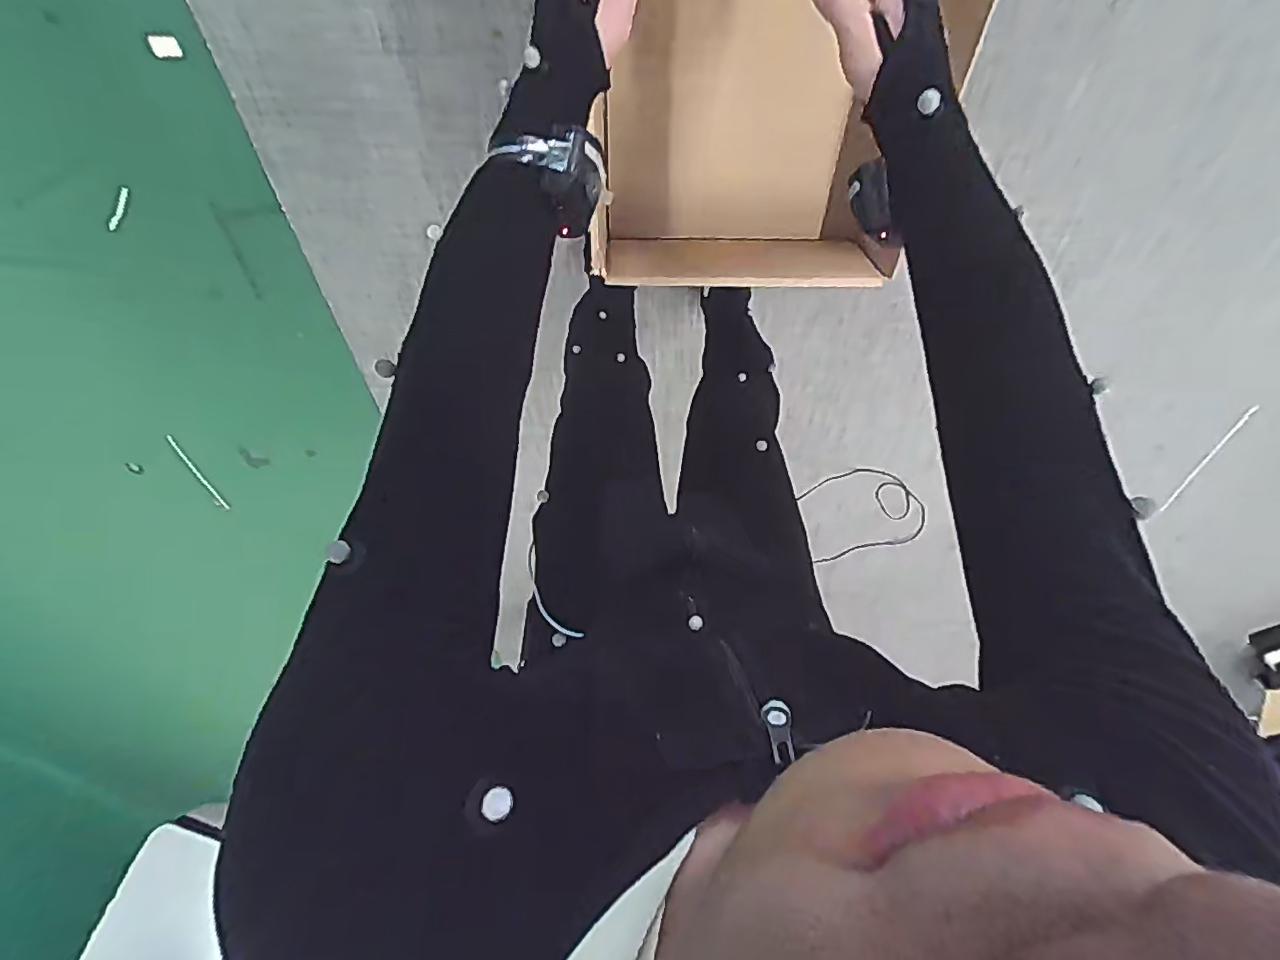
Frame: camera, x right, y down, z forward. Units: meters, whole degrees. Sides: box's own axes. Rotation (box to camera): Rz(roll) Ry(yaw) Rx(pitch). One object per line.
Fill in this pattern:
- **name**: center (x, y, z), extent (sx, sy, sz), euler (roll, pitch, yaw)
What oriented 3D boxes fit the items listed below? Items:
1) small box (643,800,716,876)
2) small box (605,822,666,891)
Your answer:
- **small box**: center (0.115, 1.122, 1.696), extent (0.168, 0.176, 0.179), euler (22, 131, -21)
- **small box**: center (-0.017, 1.300, 1.876), extent (0.168, 0.176, 0.179), euler (-14, 133, 12)
